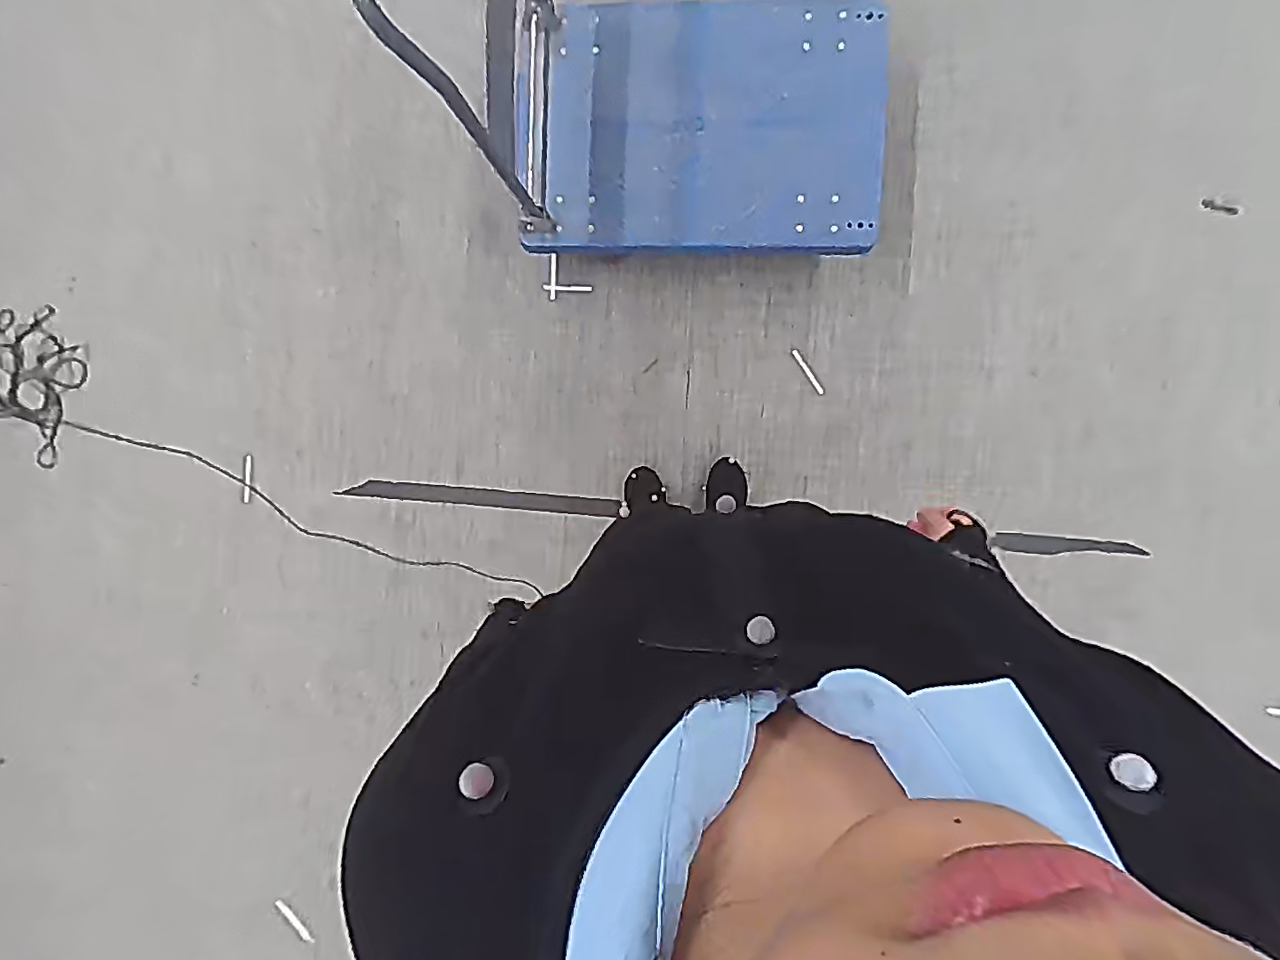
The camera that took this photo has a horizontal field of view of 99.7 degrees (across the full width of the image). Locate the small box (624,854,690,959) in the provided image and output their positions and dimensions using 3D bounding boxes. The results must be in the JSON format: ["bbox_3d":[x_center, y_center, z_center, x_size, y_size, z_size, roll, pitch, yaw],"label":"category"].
[{"bbox_3d":[0.050,1.154,1.451,0.168,0.176,0.179,2,91,4],"label":"small box"}]
